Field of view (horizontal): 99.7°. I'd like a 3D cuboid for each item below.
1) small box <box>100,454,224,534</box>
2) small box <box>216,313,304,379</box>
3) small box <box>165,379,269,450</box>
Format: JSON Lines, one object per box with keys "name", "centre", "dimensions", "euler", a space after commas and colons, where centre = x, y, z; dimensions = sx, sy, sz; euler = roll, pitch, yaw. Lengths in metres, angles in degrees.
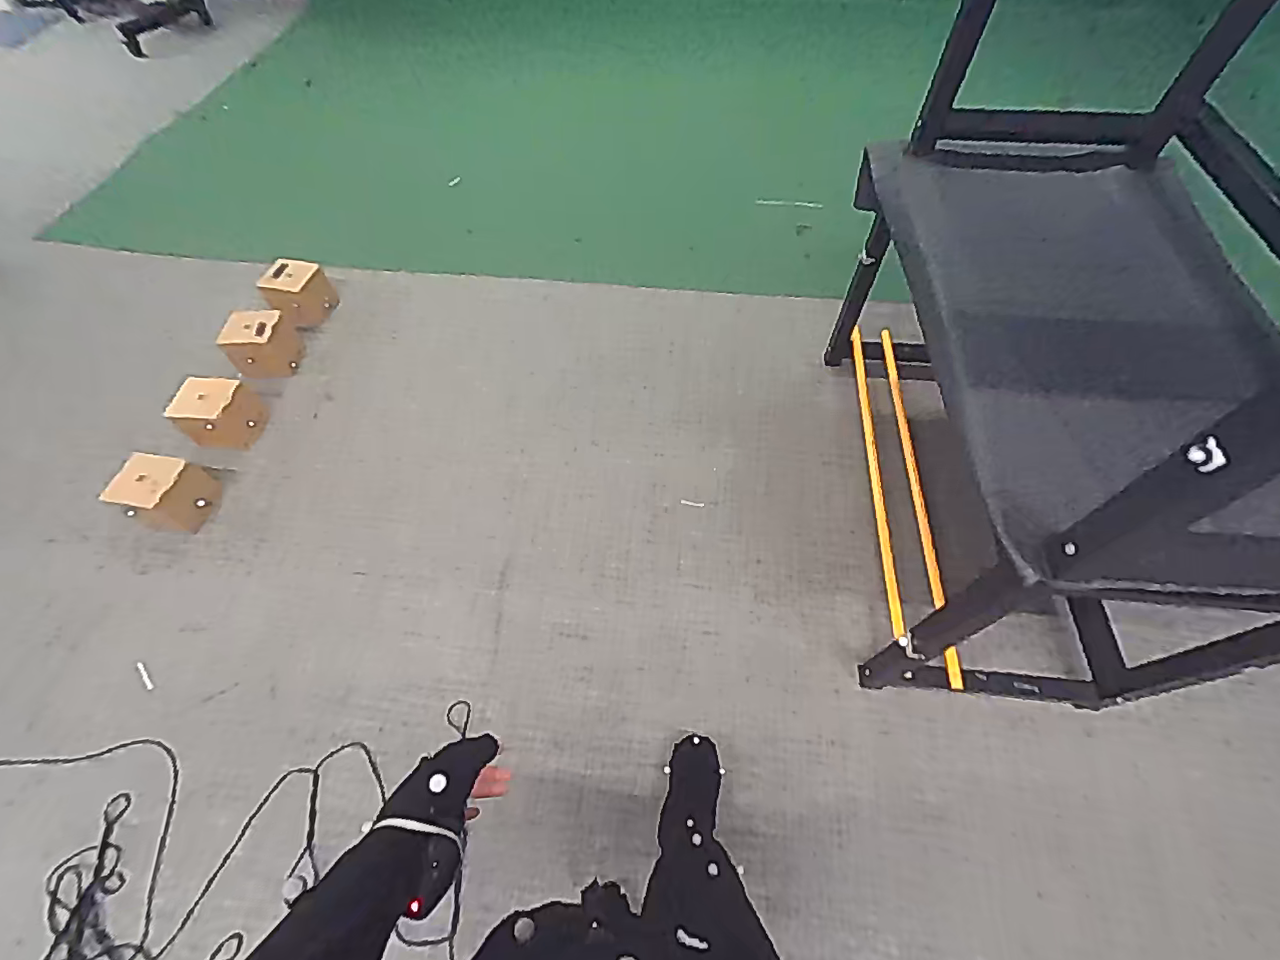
{"name": "small box", "centre": [-1.408, 0.046, 1.607], "dimensions": [0.179, 0.176, 0.168], "euler": [8, 59, 6]}
{"name": "small box", "centre": [-1.353, -0.478, 1.941], "dimensions": [0.179, 0.176, 0.168], "euler": [-2, 57, 0]}
{"name": "small box", "centre": [-1.375, -0.210, 1.771], "dimensions": [0.179, 0.176, 0.168], "euler": [2, 58, 1]}
